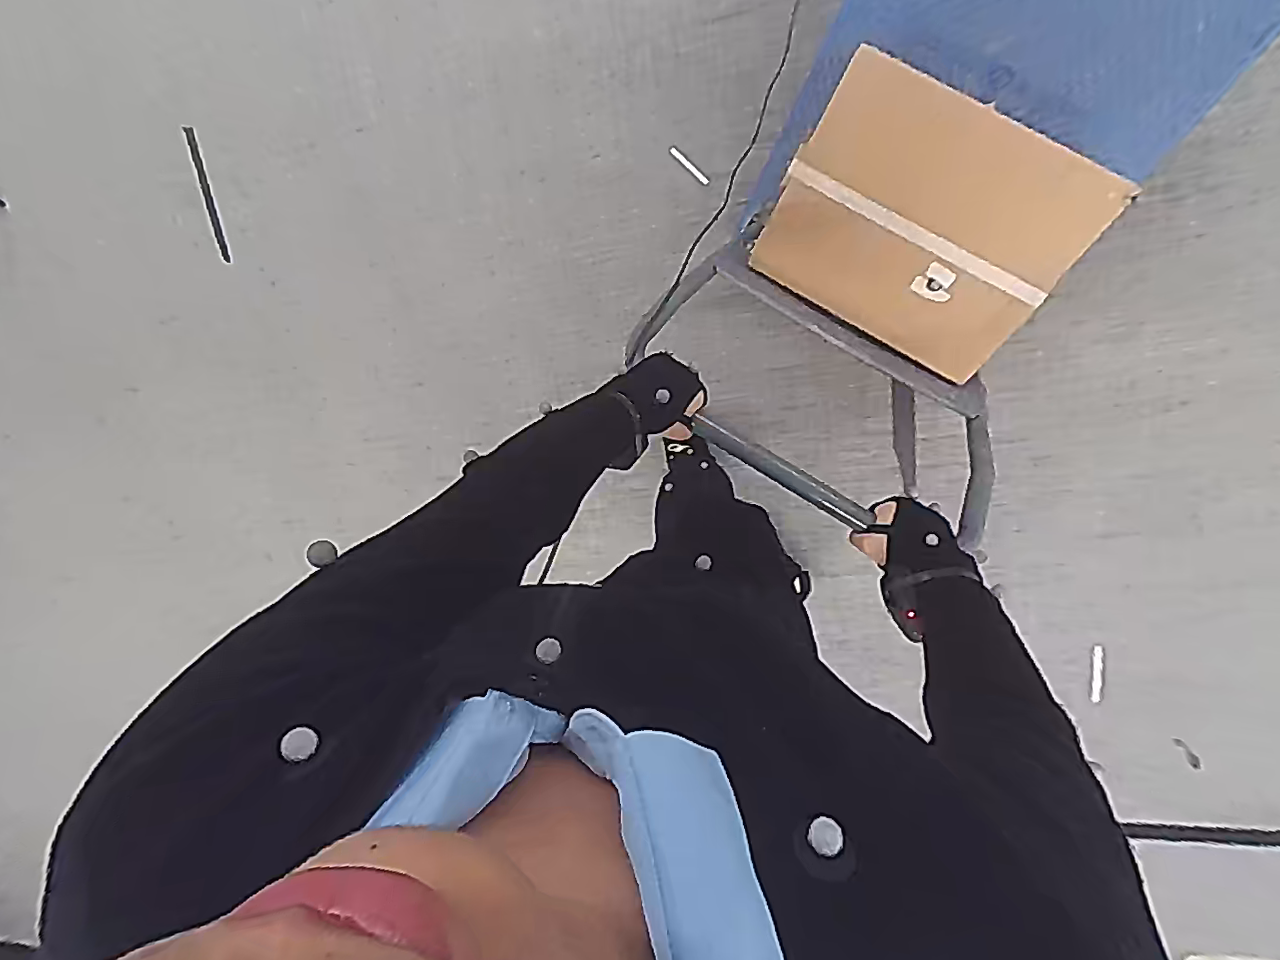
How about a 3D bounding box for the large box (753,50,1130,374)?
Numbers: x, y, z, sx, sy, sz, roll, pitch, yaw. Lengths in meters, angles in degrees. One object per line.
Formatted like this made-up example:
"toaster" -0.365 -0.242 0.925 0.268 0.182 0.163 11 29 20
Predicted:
"large box" 0.465 -0.451 0.923 0.408 0.320 0.320 31 129 4
